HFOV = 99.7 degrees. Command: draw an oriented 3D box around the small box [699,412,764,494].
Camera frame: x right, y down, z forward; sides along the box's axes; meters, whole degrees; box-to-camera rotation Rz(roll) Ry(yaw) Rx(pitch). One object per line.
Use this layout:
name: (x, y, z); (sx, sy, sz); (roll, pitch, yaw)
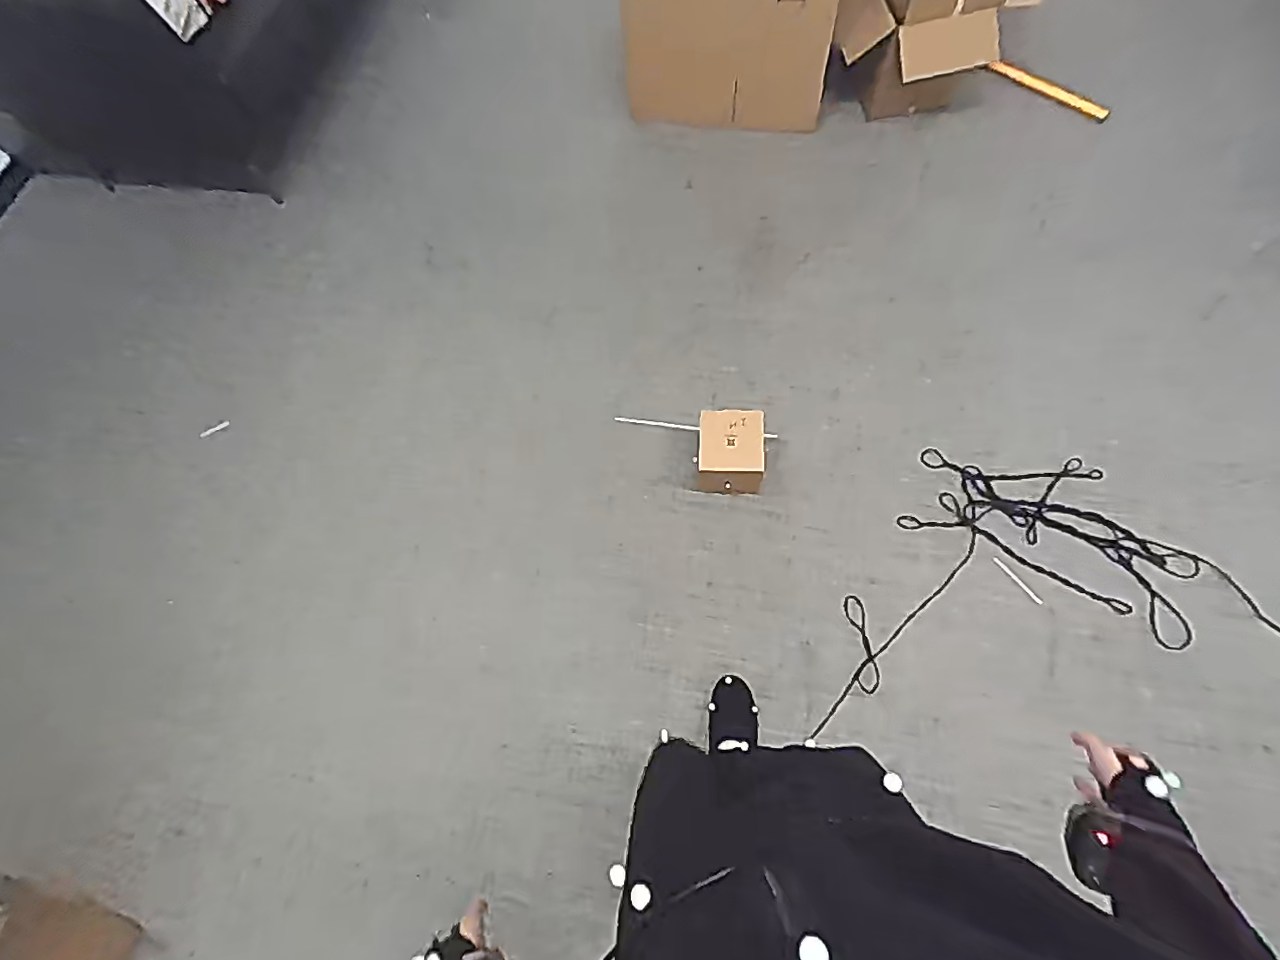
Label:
small box: (0.247, -0.069, 1.458); (0.168, 0.176, 0.179); (1, 68, 8)
